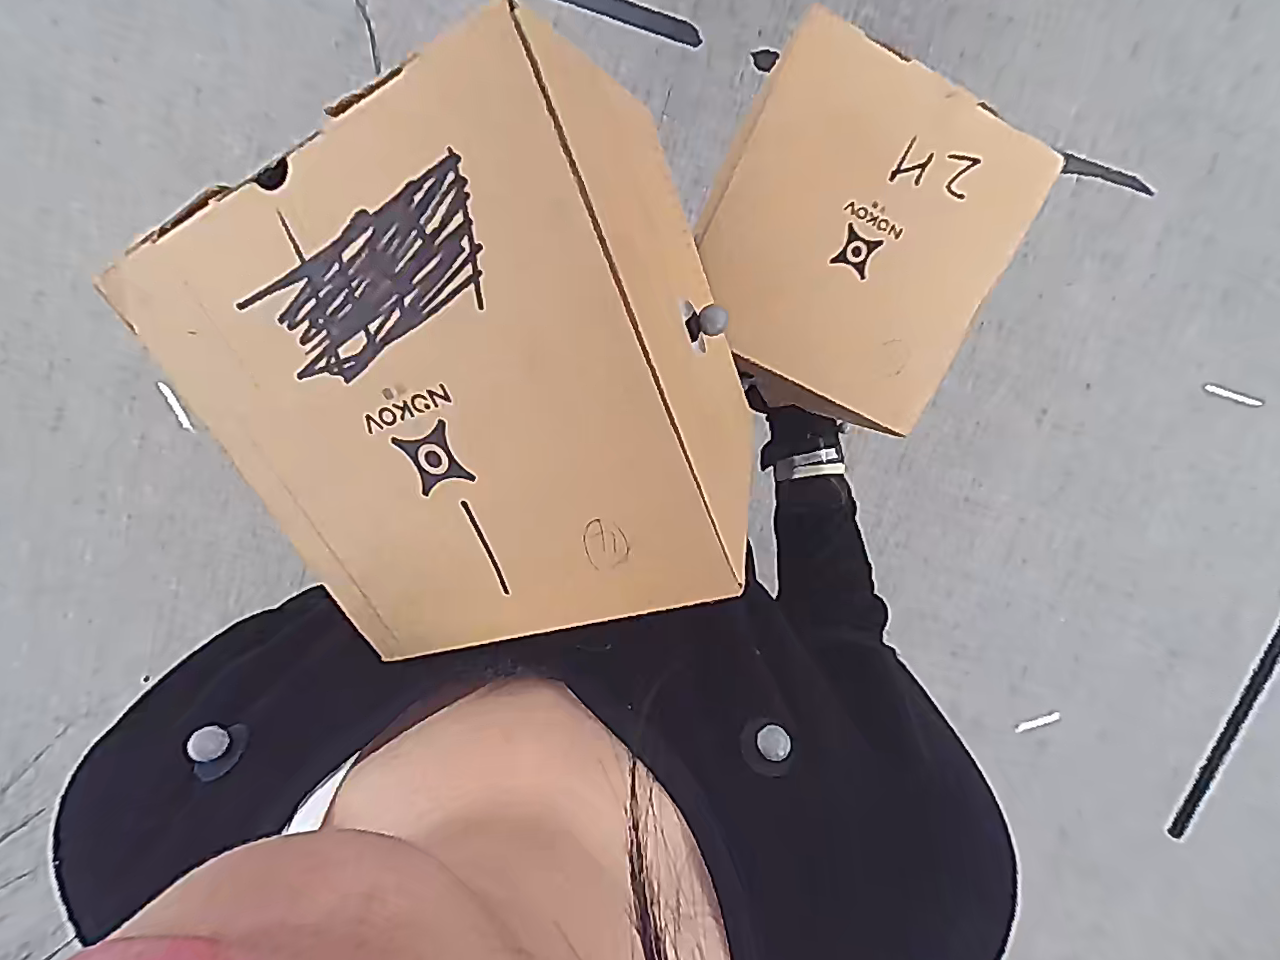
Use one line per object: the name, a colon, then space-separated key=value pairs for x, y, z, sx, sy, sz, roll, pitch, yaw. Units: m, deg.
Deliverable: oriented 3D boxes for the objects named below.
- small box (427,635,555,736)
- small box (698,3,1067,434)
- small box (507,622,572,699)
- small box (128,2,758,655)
small box: x=-0.240 y=0.348 z=0.833 sx=0.168 sy=0.176 sz=0.179 roll=20 pitch=99 yaw=-2
small box: x=0.125 y=-0.154 z=0.381 sx=0.168 sy=0.176 sz=0.179 roll=25 pitch=100 yaw=-9
small box: x=-0.233 y=0.327 z=0.994 sx=0.168 sy=0.176 sz=0.179 roll=23 pitch=98 yaw=-1
small box: x=-0.050 y=-0.053 z=0.251 sx=0.168 sy=0.176 sz=0.179 roll=-16 pitch=112 yaw=20
